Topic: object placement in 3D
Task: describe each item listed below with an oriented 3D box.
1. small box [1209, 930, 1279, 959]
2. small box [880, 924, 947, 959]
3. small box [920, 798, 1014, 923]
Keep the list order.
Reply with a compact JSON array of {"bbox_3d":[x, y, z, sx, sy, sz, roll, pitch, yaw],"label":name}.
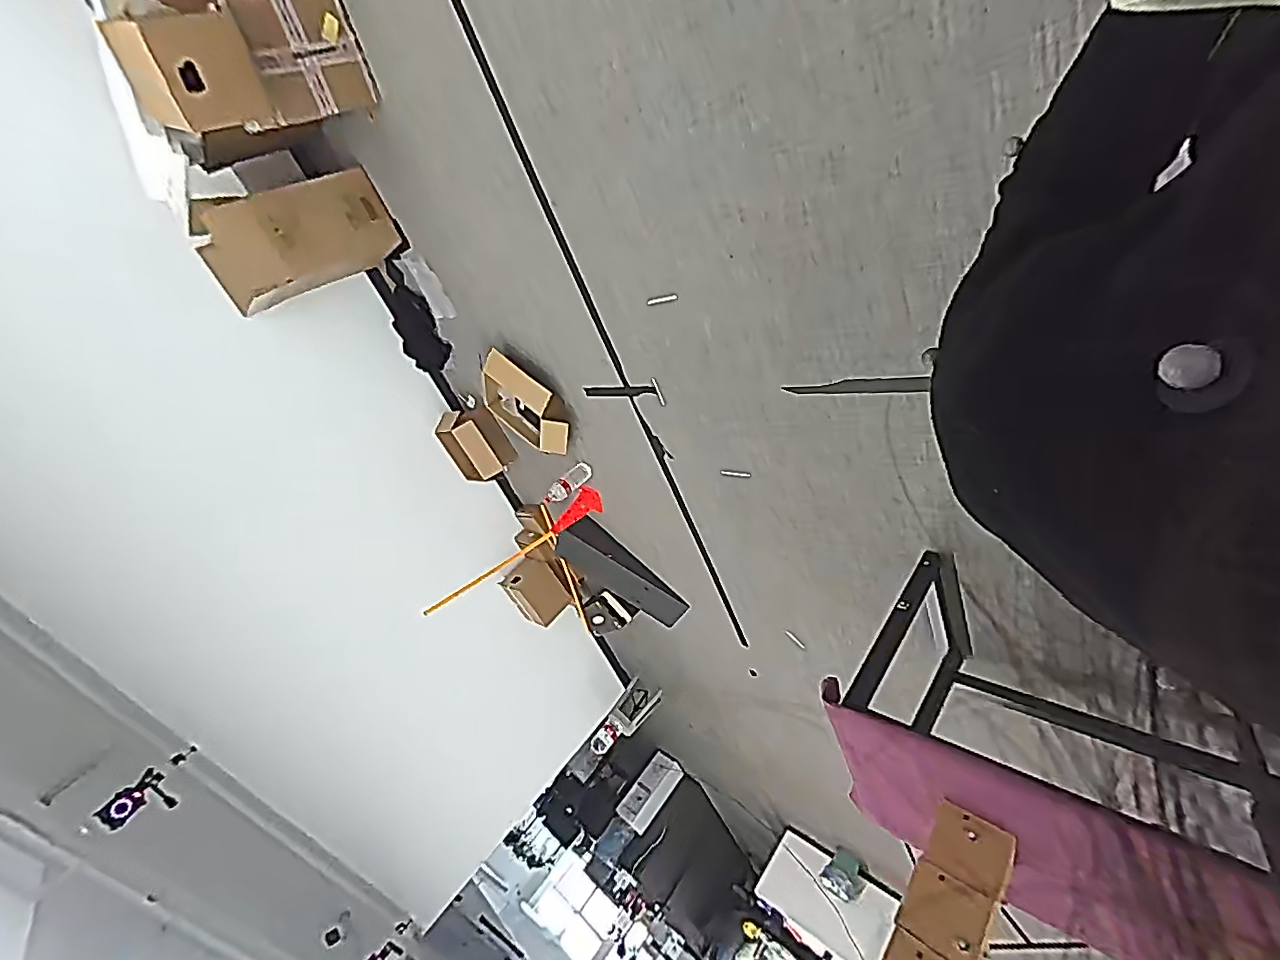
[{"bbox_3d":[1.162,0.992,0.991,0.168,0.176,0.179,10,133,46],"label":"small box"},{"bbox_3d":[0.625,1.149,1.208,0.168,0.176,0.179,17,140,43],"label":"small box"},{"bbox_3d":[0.833,0.961,1.376,0.168,0.176,0.179,13,136,43],"label":"small box"}]
